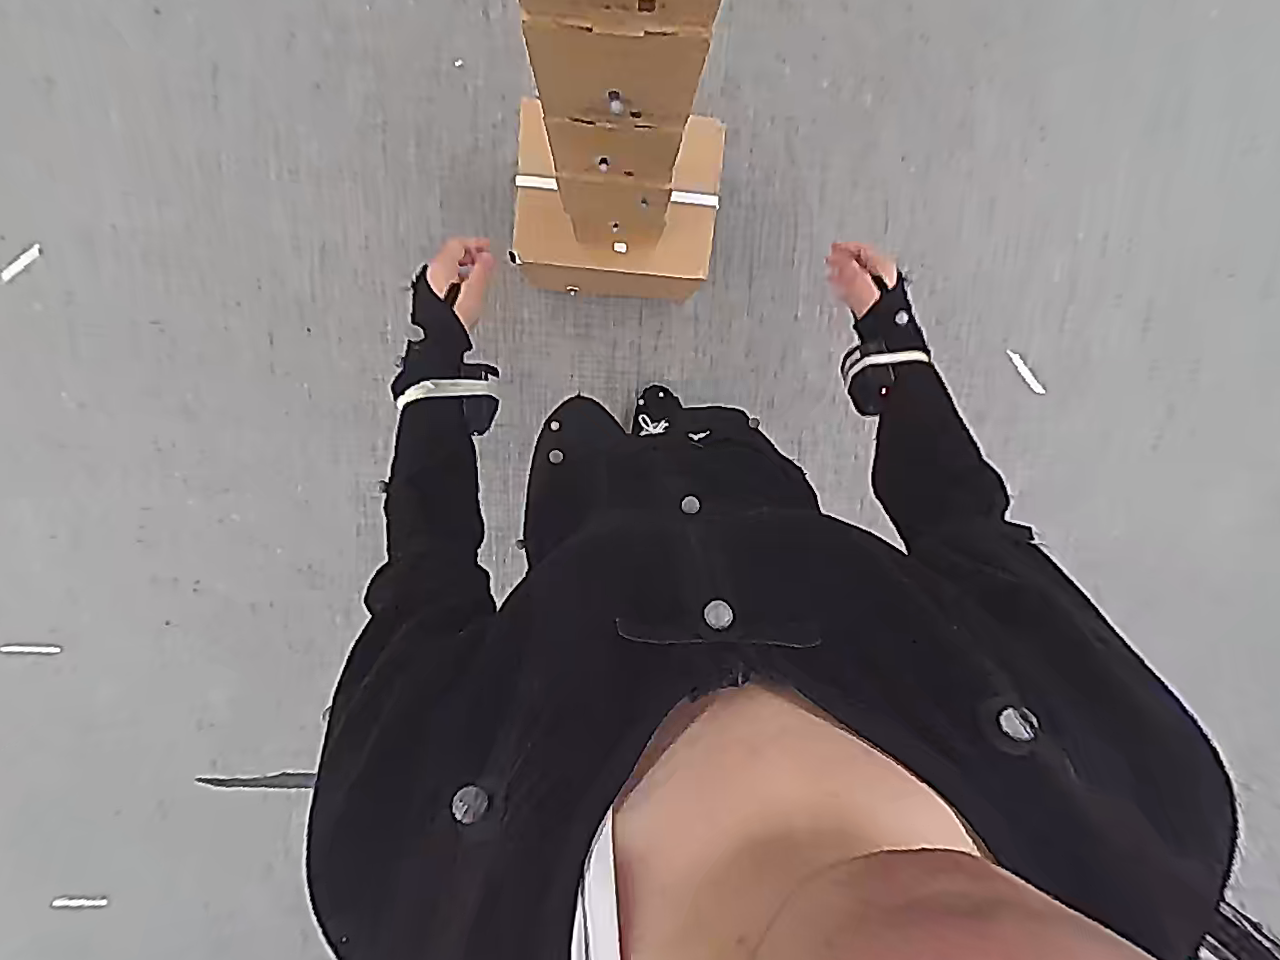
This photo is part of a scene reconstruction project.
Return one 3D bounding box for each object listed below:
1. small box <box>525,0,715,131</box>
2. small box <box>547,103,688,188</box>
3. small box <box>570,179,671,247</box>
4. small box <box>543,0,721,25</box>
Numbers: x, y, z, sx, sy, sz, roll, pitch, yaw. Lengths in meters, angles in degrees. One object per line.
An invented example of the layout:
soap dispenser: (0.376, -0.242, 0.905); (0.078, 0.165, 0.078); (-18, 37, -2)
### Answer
small box: (-0.018, -0.479, 0.528); (0.168, 0.176, 0.179); (1, 100, -3)
small box: (-0.027, -0.503, 0.691); (0.168, 0.176, 0.179); (2, 100, -4)
small box: (-0.036, -0.545, 1.014); (0.179, 0.176, 0.168); (2, 100, -4)
small box: (-0.008, -0.456, 0.366); (0.168, 0.176, 0.179); (1, 101, -4)
